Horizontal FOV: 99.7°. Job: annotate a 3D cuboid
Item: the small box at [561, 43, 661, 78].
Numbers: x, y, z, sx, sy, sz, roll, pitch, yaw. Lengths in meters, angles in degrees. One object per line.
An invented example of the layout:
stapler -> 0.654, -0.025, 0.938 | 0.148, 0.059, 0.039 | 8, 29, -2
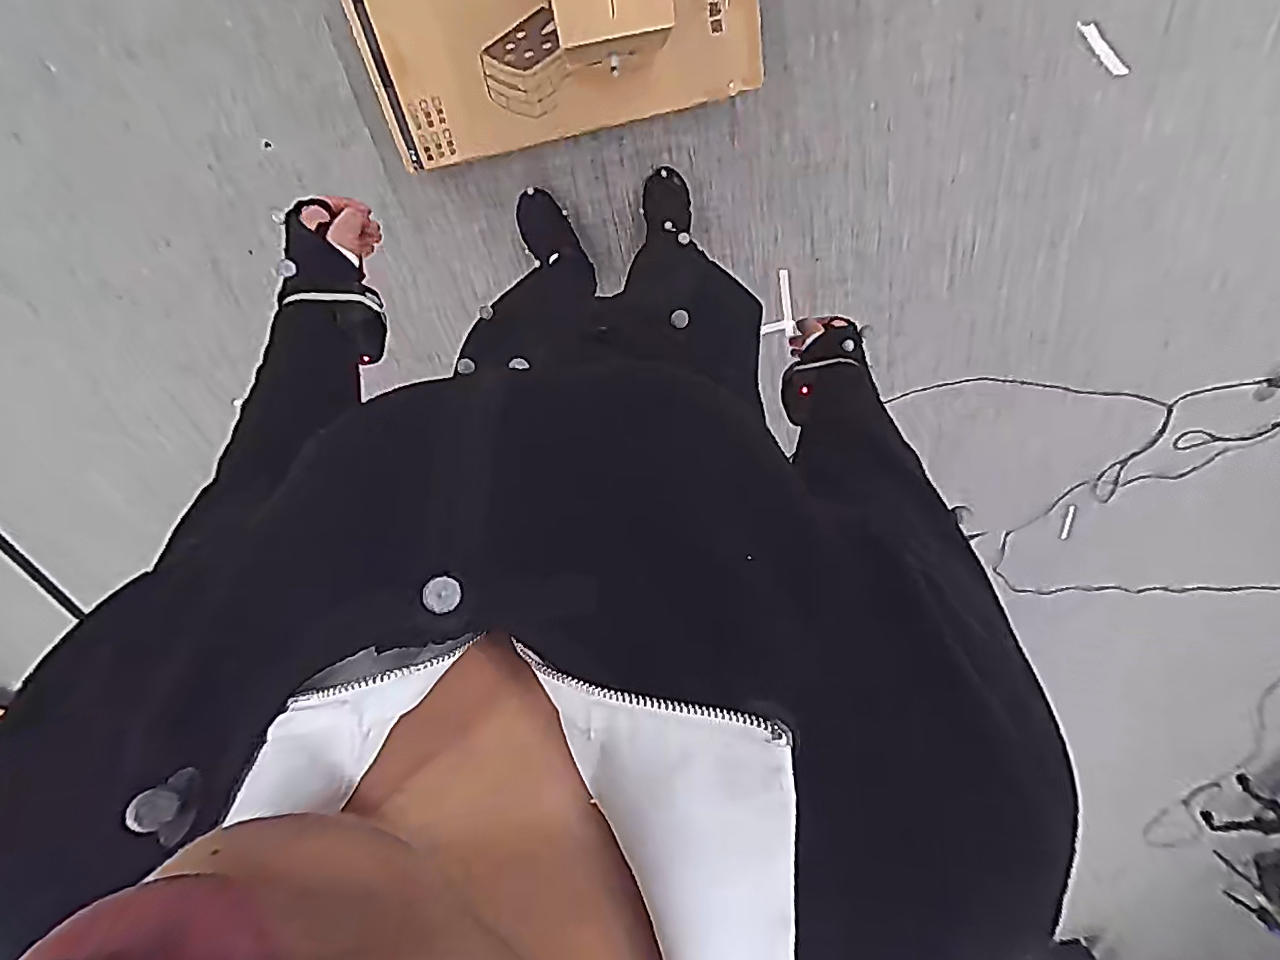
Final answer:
small box -> -0.065, -0.815, 0.919 | 0.168, 0.176, 0.179 | -12, 121, 5

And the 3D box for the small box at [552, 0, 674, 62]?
small box -> -0.048, -0.733, 0.777 | 0.168, 0.176, 0.179 | -9, 122, 3
